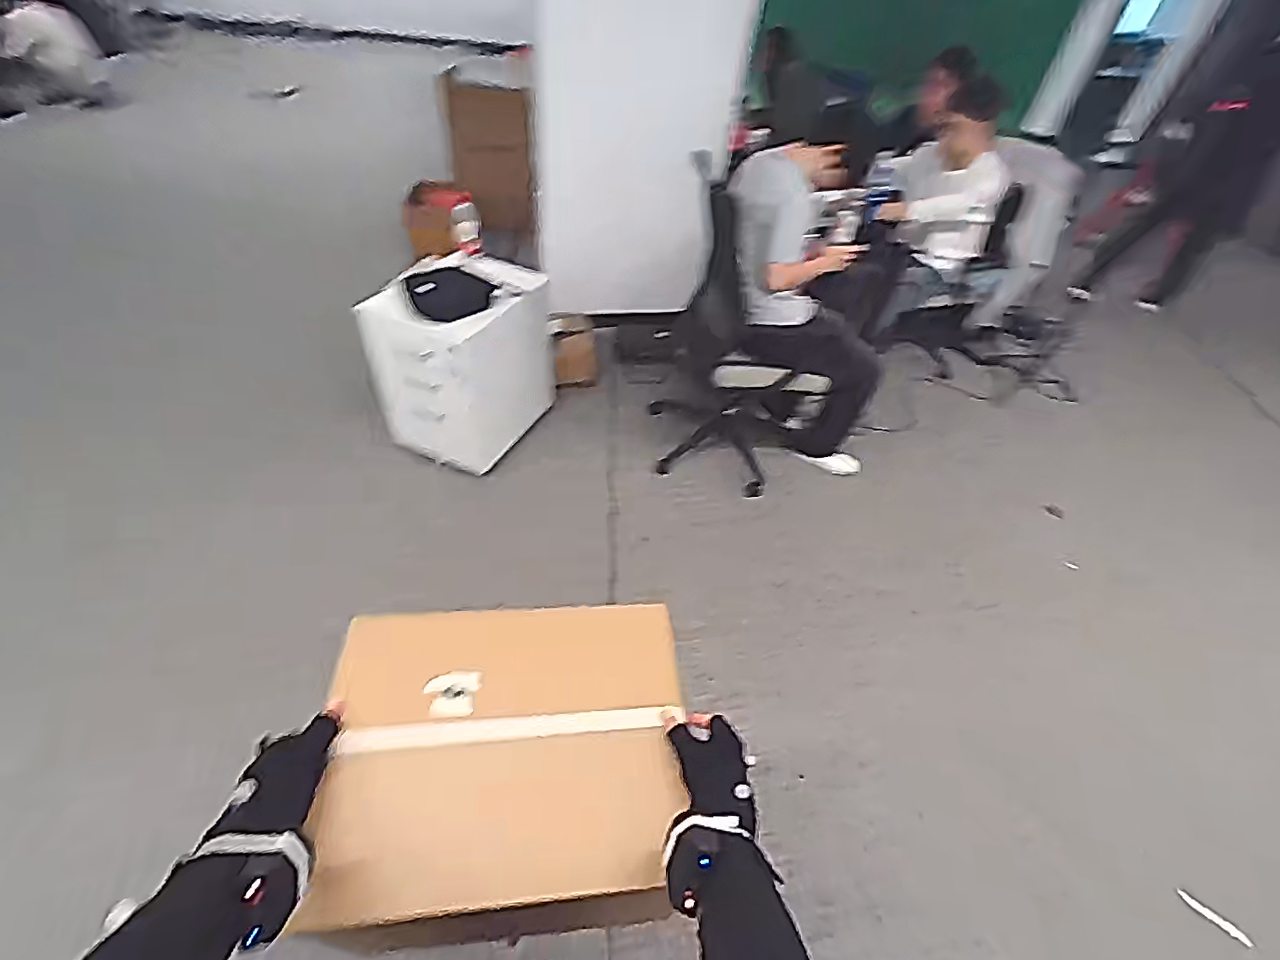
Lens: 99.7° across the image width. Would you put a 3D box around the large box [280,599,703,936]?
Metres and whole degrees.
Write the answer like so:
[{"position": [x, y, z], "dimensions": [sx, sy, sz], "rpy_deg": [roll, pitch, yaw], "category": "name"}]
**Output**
[{"position": [-0.159, 0.380, 0.725], "dimensions": [0.408, 0.320, 0.320], "rpy_deg": [0, 45, -7], "category": "large box"}]
